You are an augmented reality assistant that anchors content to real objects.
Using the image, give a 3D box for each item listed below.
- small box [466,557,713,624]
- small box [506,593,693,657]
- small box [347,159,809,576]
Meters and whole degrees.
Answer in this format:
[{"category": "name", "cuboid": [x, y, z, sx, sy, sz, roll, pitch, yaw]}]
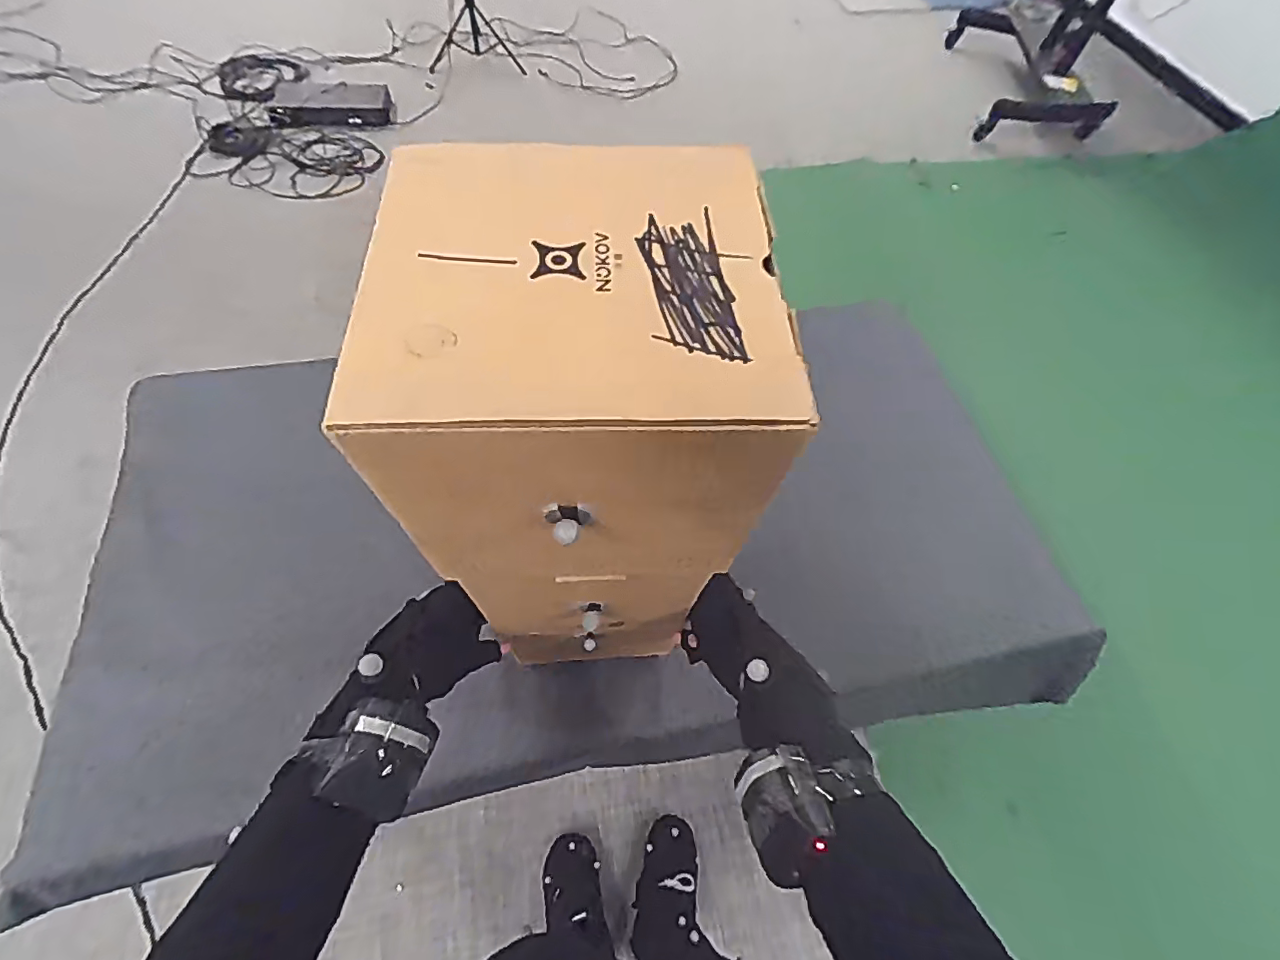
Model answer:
[{"category": "small box", "cuboid": [-0.040, 0.020, 0.459, 0.168, 0.176, 0.179, -2, 63, -5]}, {"category": "small box", "cuboid": [-0.048, 0.096, 0.604, 0.179, 0.176, 0.168, -2, 62, -7]}, {"category": "small box", "cuboid": [-0.028, -0.049, 0.309, 0.179, 0.176, 0.168, -1, 62, -4]}]
